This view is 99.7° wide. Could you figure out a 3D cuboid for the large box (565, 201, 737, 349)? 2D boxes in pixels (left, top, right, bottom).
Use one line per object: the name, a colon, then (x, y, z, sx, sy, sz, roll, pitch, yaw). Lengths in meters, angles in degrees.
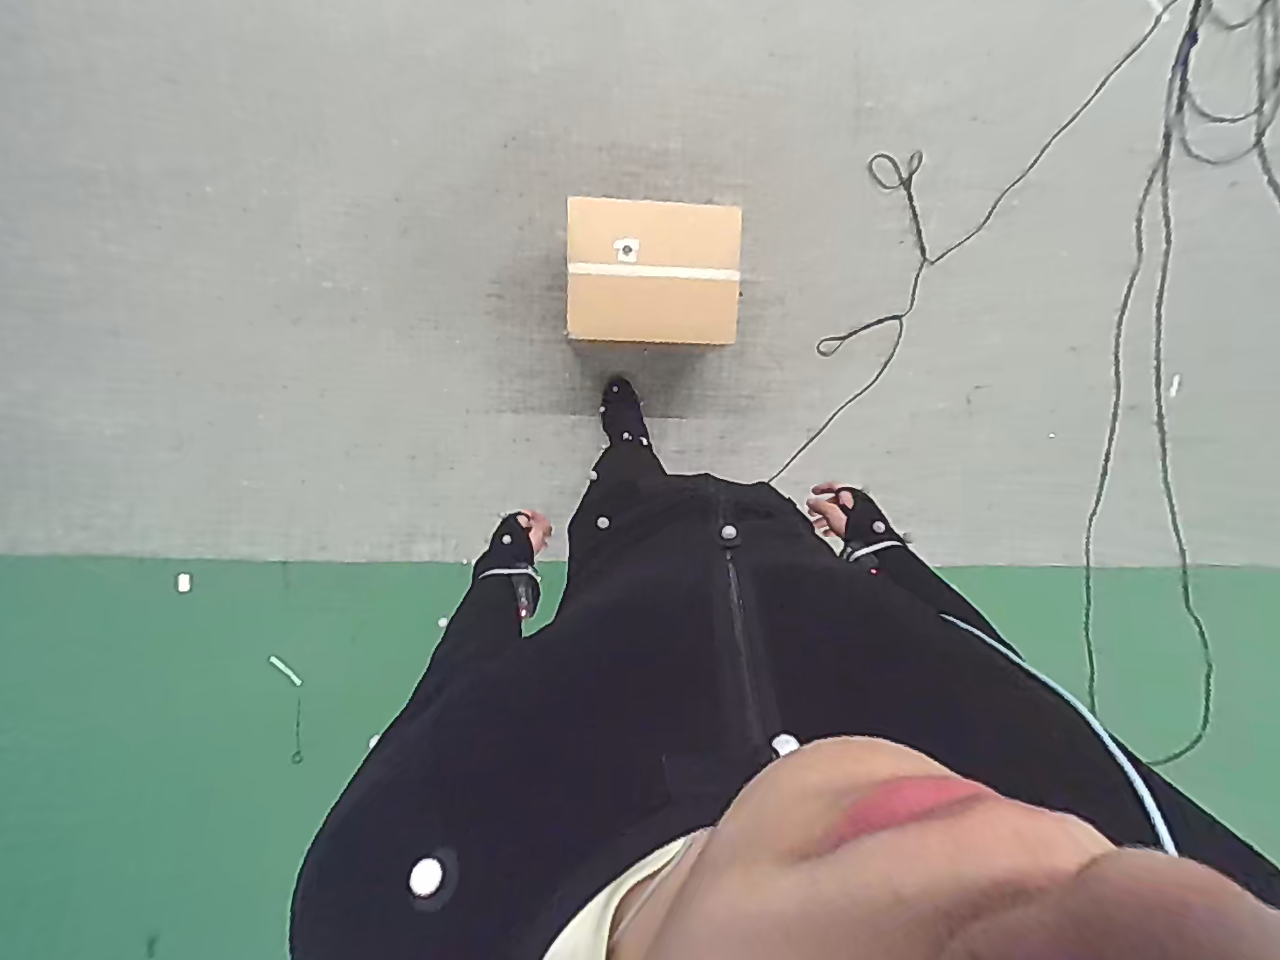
large box: (0.018, -0.508, 1.405, 0.408, 0.320, 0.320, 0, 98, -5)
